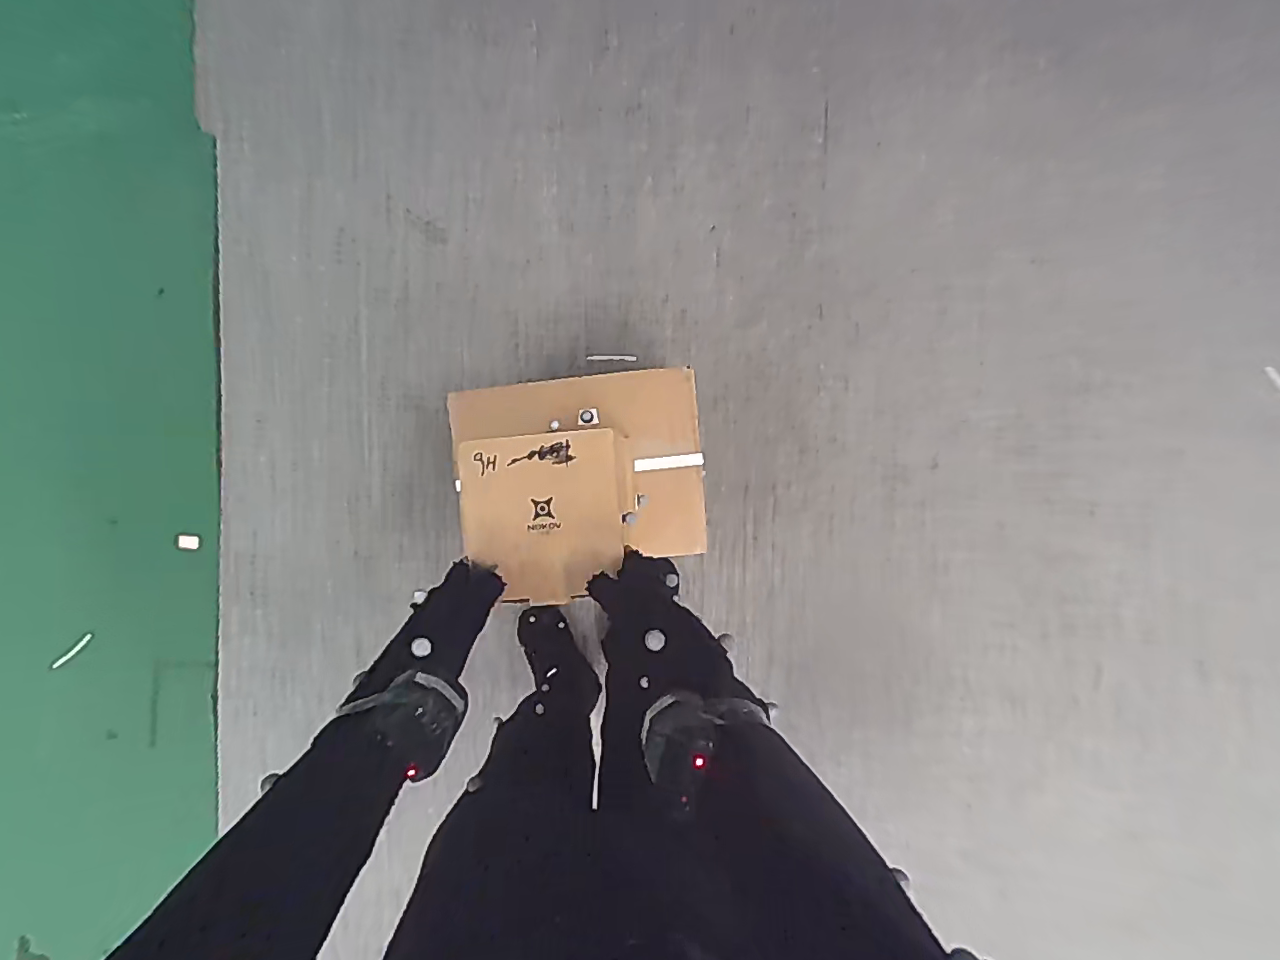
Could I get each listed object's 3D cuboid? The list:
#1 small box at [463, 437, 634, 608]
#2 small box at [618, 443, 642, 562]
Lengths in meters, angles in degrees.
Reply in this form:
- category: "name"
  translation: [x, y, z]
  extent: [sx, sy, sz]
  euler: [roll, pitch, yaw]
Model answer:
- category: "small box"
  translation: [-0.097, 0.042, 0.653]
  extent: [0.168, 0.176, 0.179]
  euler: [-5, 92, 1]
- category: "small box"
  translation: [-0.091, 0.035, 0.817]
  extent: [0.179, 0.176, 0.168]
  euler: [-4, 92, 1]
